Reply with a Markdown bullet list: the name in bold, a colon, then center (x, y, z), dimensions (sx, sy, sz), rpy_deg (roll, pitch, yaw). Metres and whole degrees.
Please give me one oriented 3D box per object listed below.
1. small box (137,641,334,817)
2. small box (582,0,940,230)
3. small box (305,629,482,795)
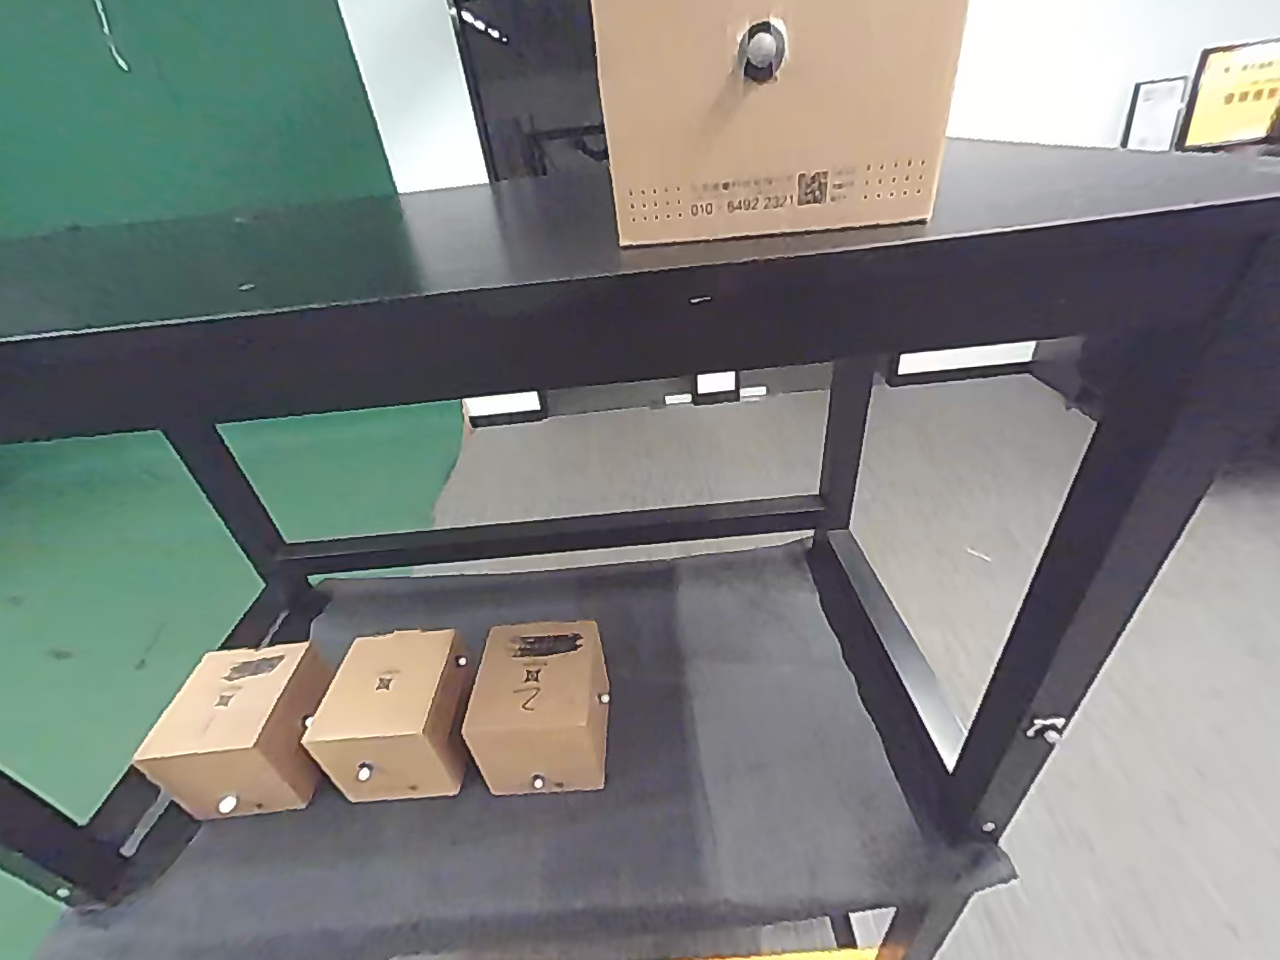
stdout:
- **small box**: center (-0.579, 0.375, 0.822), dimensions (0.168, 0.176, 0.179), rpy_deg (-7, 34, 1)
- **small box**: center (0.067, -0.252, 0.319), dimensions (0.168, 0.176, 0.179), rpy_deg (0, 34, 10)
- **small box**: center (-0.354, 0.353, 0.818), dimensions (0.168, 0.176, 0.179), rpy_deg (-5, 33, 2)
